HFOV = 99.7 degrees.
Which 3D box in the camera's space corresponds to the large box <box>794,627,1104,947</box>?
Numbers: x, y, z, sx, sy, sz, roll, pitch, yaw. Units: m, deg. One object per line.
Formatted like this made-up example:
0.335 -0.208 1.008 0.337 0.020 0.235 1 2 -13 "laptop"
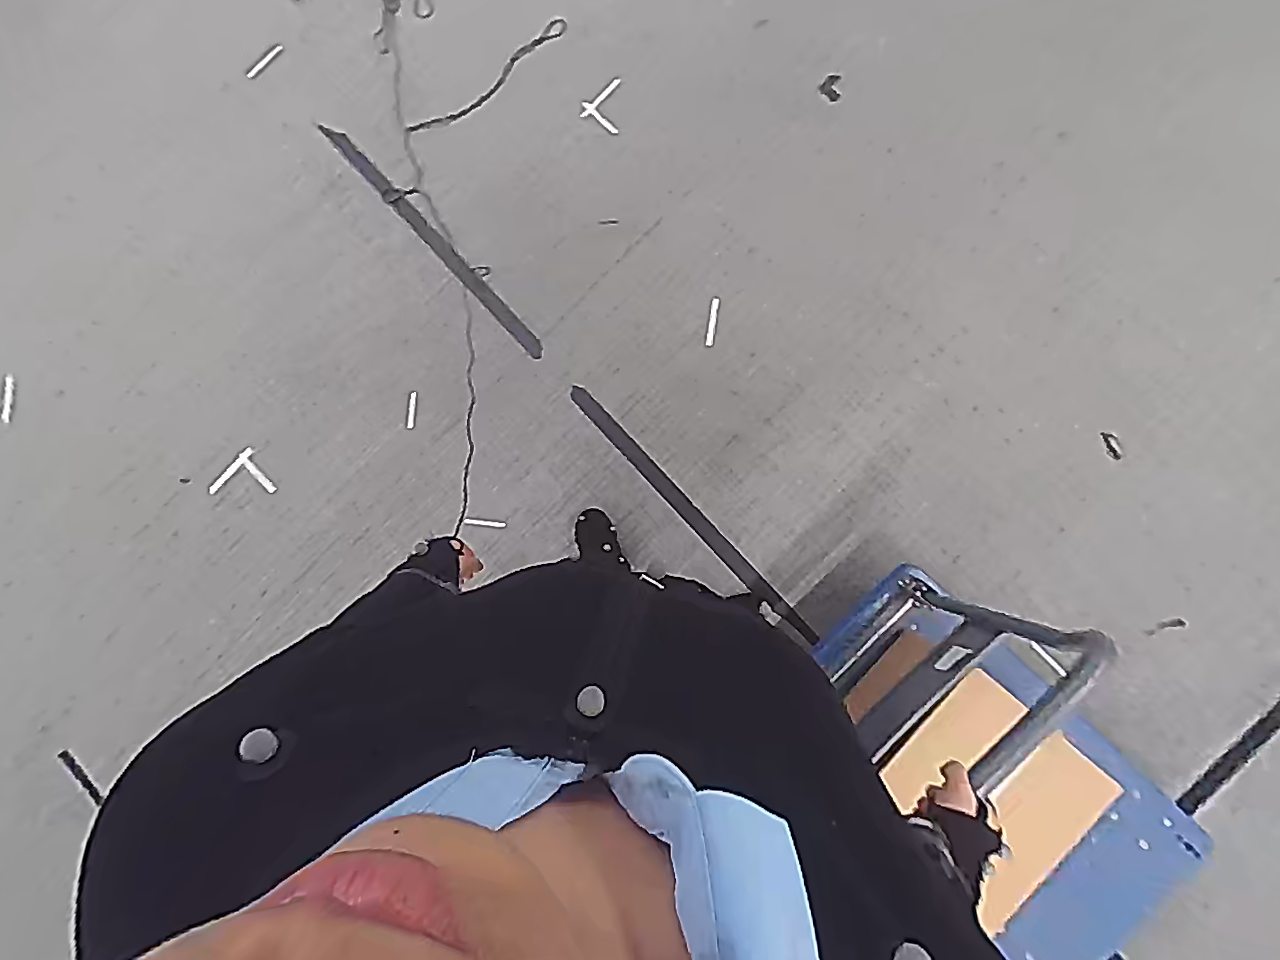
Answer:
0.585 0.579 1.106 0.320 0.320 0.408 41 91 7 "large box"
